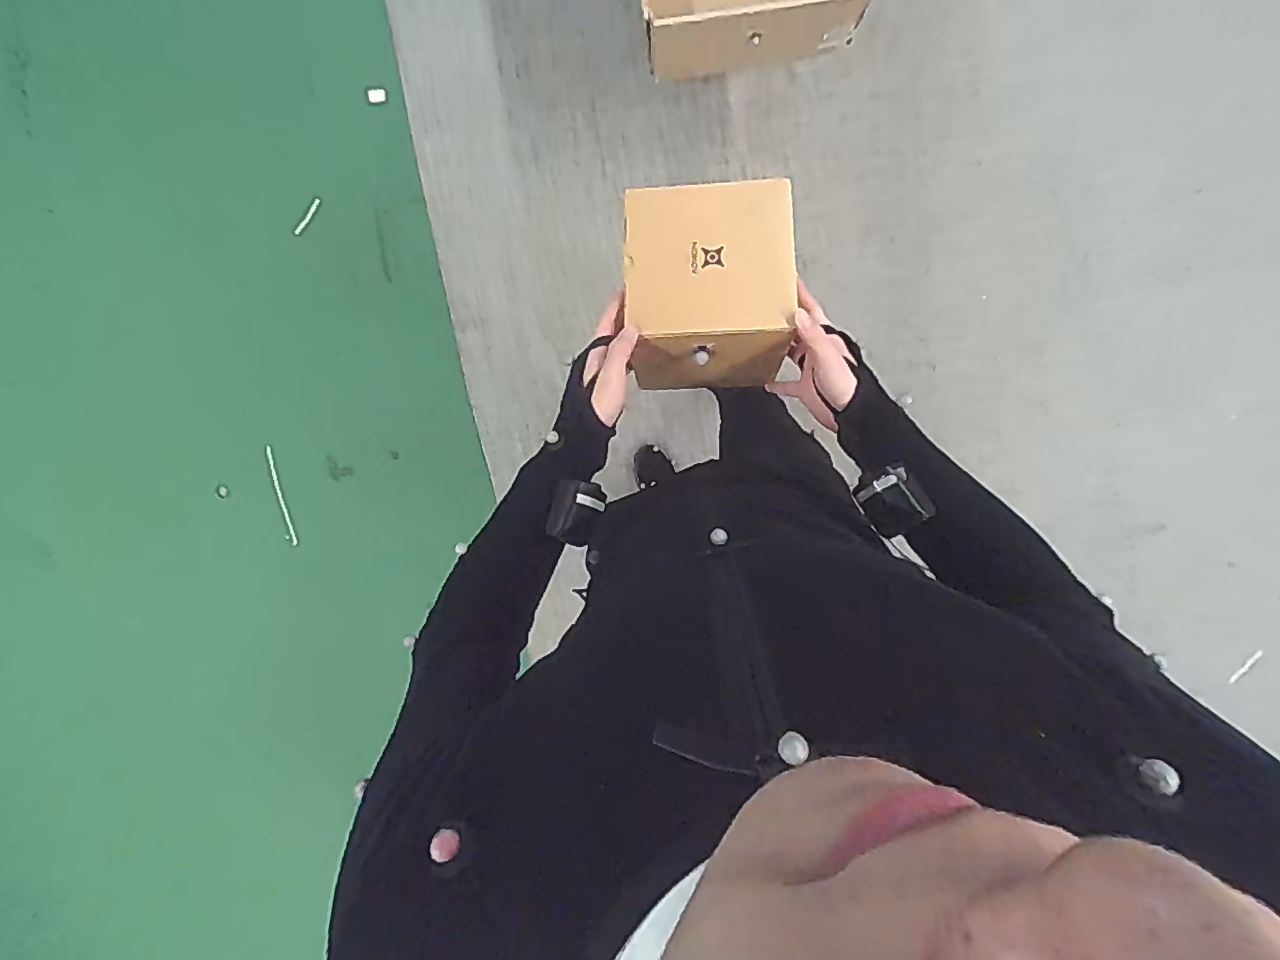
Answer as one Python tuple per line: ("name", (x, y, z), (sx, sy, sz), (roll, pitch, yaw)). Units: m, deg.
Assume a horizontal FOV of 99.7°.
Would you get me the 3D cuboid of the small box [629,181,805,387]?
("small box", (0.083, -0.213, 0.627), (0.179, 0.176, 0.168), (-1, 81, 6))
